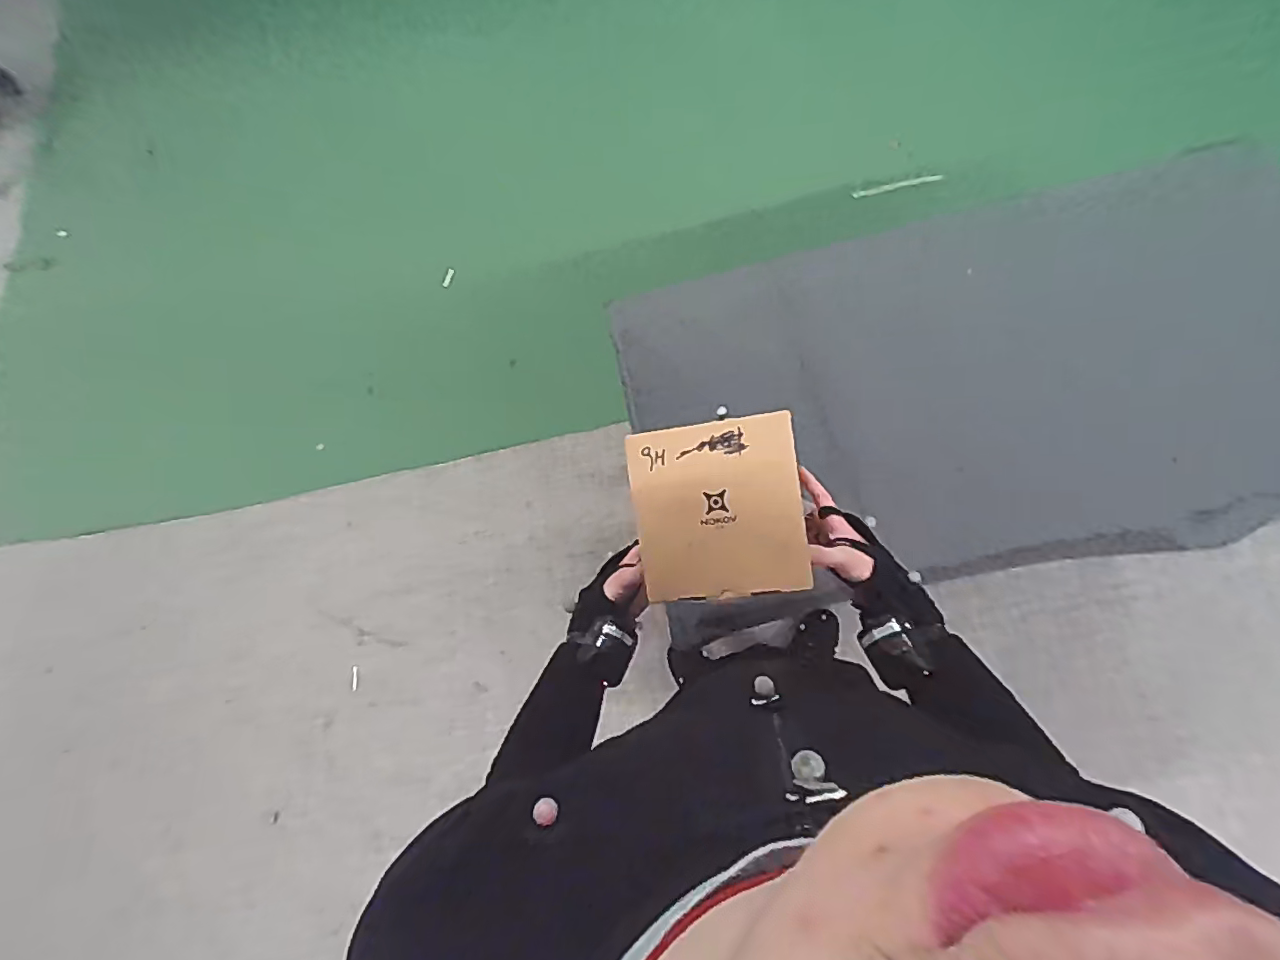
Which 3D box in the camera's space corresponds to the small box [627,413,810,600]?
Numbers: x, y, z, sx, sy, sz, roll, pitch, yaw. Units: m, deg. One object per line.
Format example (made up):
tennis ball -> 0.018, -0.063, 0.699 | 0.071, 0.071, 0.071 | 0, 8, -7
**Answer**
small box -> 0.092, 0.022, 0.608 | 0.168, 0.176, 0.179 | -7, 94, 12
